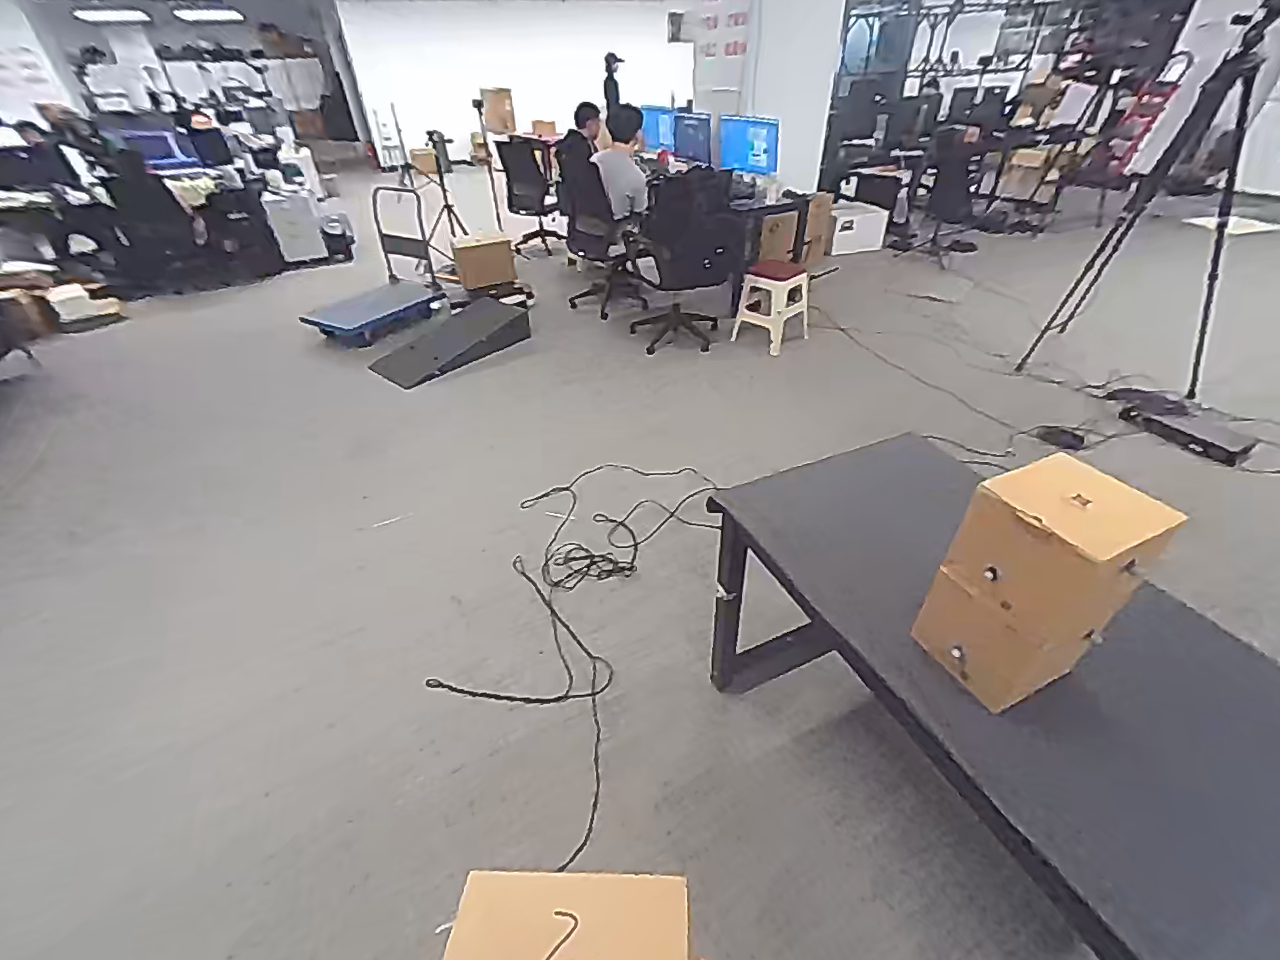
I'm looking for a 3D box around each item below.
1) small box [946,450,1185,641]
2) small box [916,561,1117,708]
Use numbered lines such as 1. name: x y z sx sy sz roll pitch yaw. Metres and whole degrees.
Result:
1. small box: 0.567 0.088 0.748 0.179 0.176 0.168 -17 40 -19
2. small box: 0.571 0.217 0.847 0.179 0.176 0.168 -17 39 -19
